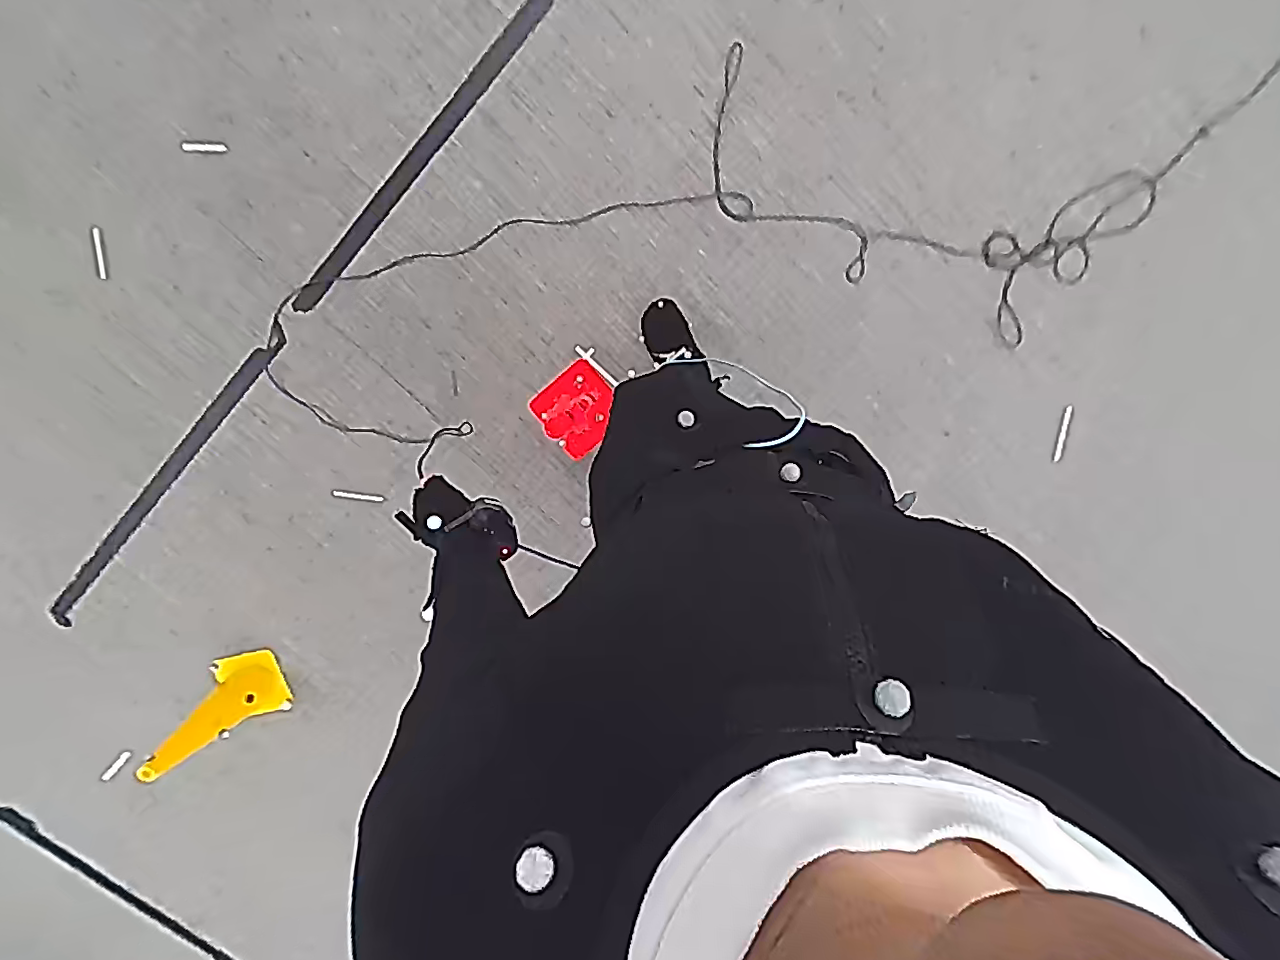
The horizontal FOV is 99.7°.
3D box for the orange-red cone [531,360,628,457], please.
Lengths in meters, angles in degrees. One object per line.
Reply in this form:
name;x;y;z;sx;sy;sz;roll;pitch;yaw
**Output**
orange-red cone;-0.165;-0.141;1.228;0.199;0.360;0.198;-37;99;11
